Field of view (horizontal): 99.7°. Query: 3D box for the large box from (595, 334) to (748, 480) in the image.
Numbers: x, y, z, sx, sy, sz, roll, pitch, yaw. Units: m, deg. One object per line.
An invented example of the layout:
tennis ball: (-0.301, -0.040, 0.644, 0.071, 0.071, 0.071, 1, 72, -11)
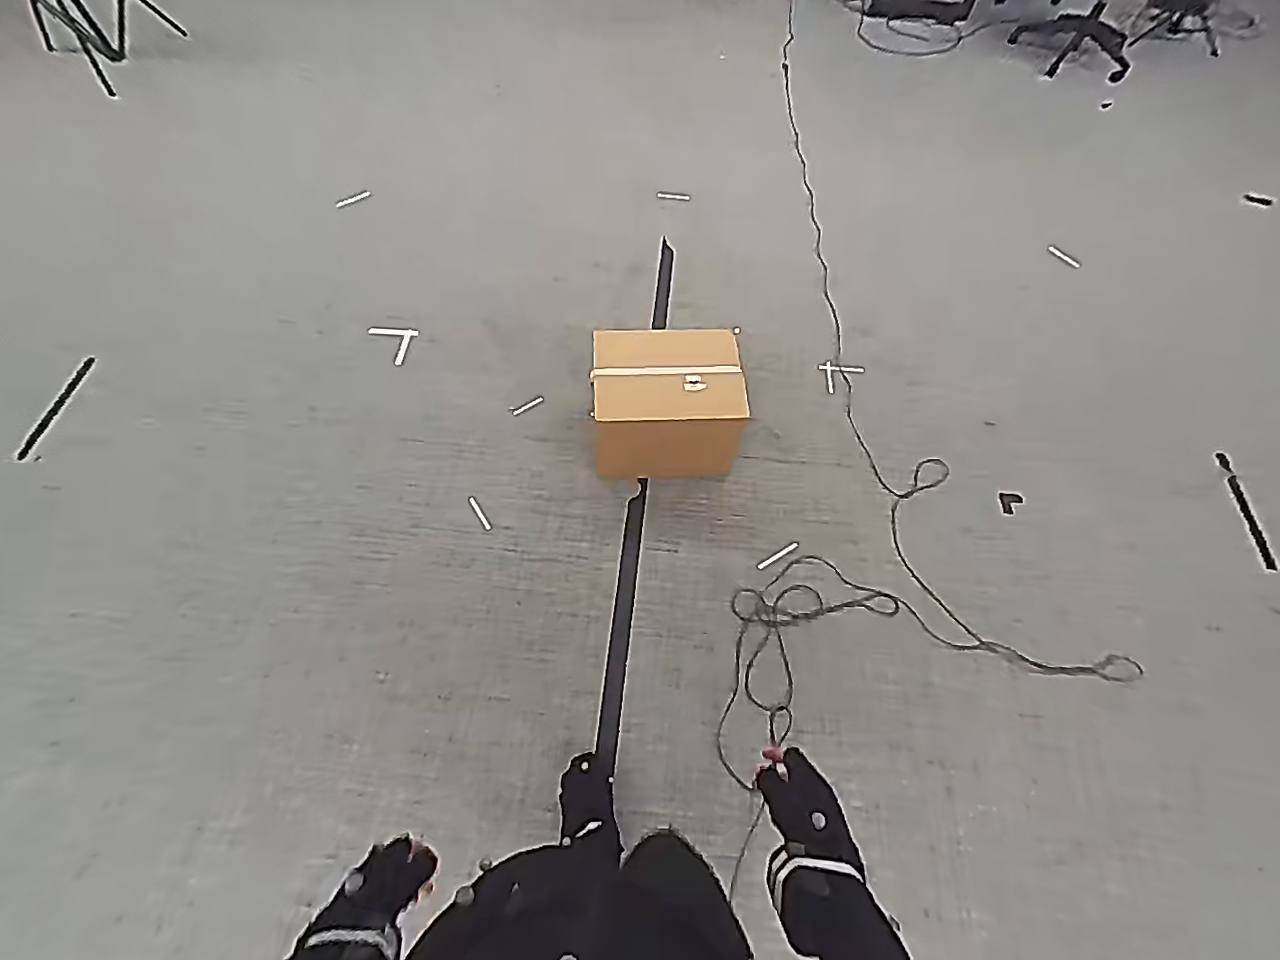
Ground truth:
large box: (0.072, -0.209, 1.598, 0.408, 0.320, 0.320, -1, 61, -3)
